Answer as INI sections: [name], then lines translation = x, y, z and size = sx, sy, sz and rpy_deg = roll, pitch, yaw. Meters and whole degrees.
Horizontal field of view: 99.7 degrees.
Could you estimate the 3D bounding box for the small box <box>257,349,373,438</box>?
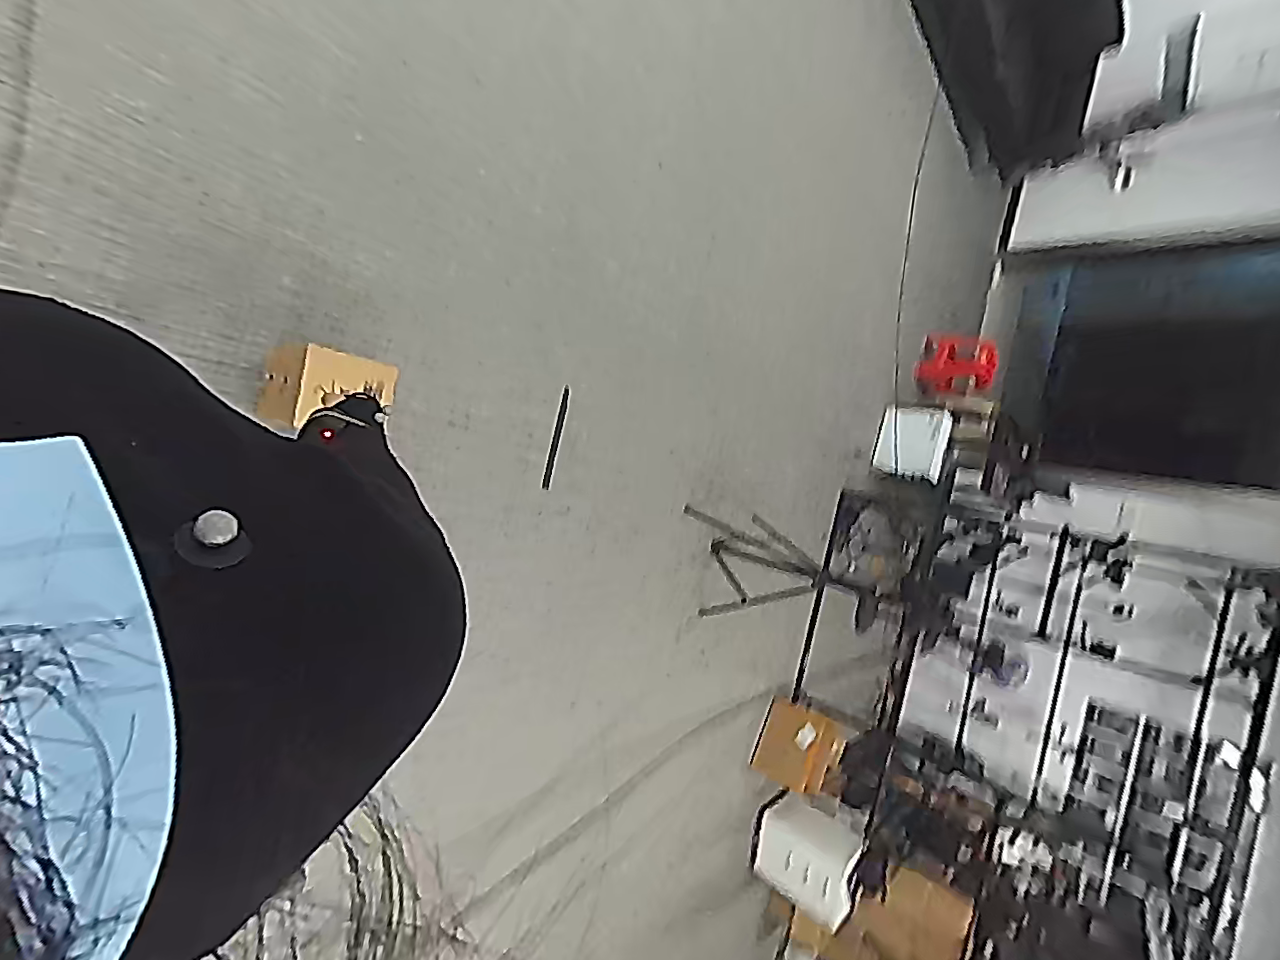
[small box]
translation = -0.765, -0.204, 1.272
size = 0.179, 0.176, 0.168
rpy_deg = 13, 90, -47
